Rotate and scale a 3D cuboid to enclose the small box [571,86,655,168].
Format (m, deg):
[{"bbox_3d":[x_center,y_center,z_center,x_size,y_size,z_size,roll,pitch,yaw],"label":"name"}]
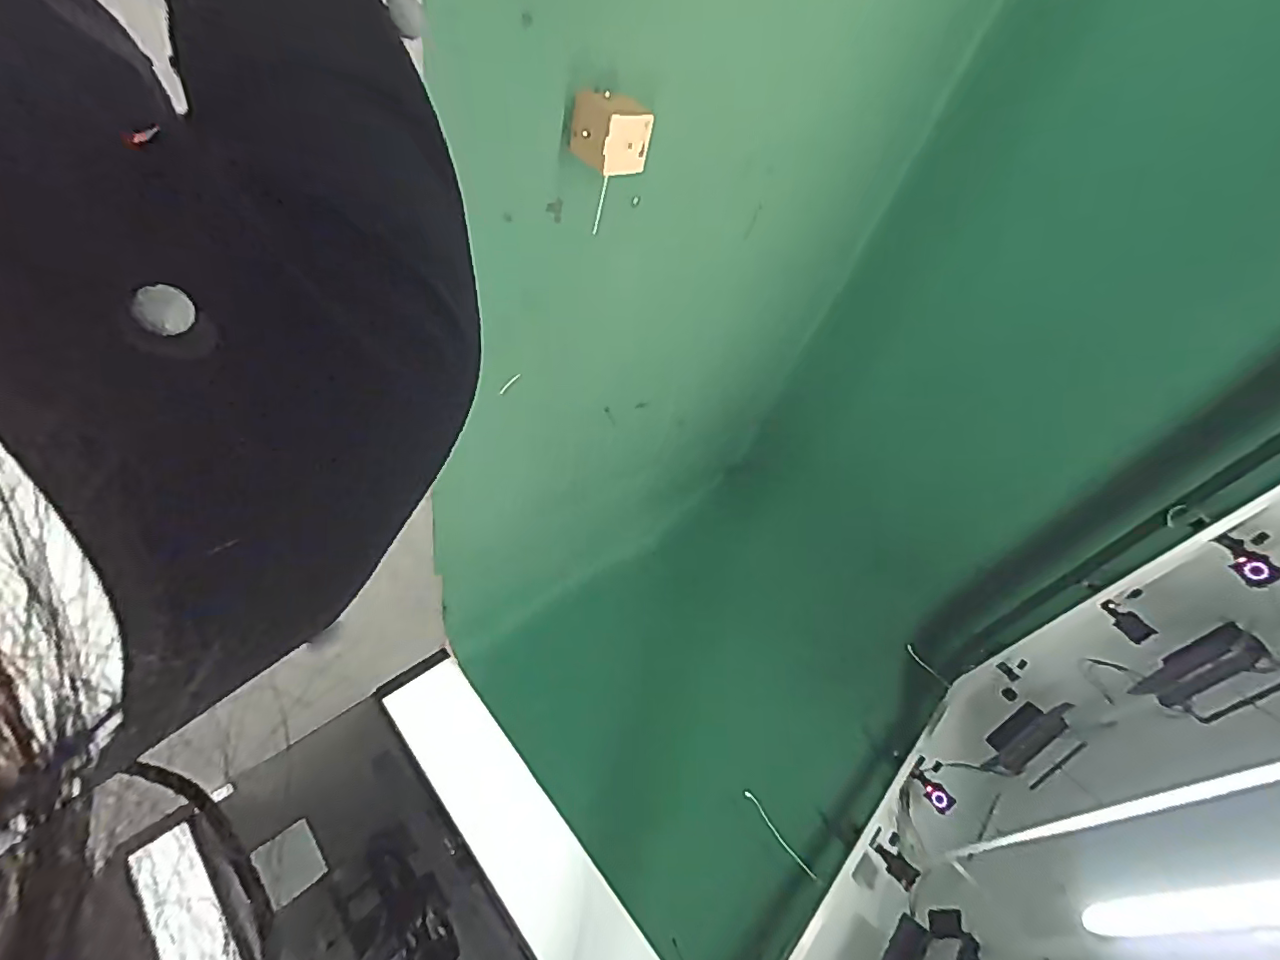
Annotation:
[{"bbox_3d":[-0.088,-1.076,1.650,0.179,0.176,0.168,-27,152,-35],"label":"small box"}]
